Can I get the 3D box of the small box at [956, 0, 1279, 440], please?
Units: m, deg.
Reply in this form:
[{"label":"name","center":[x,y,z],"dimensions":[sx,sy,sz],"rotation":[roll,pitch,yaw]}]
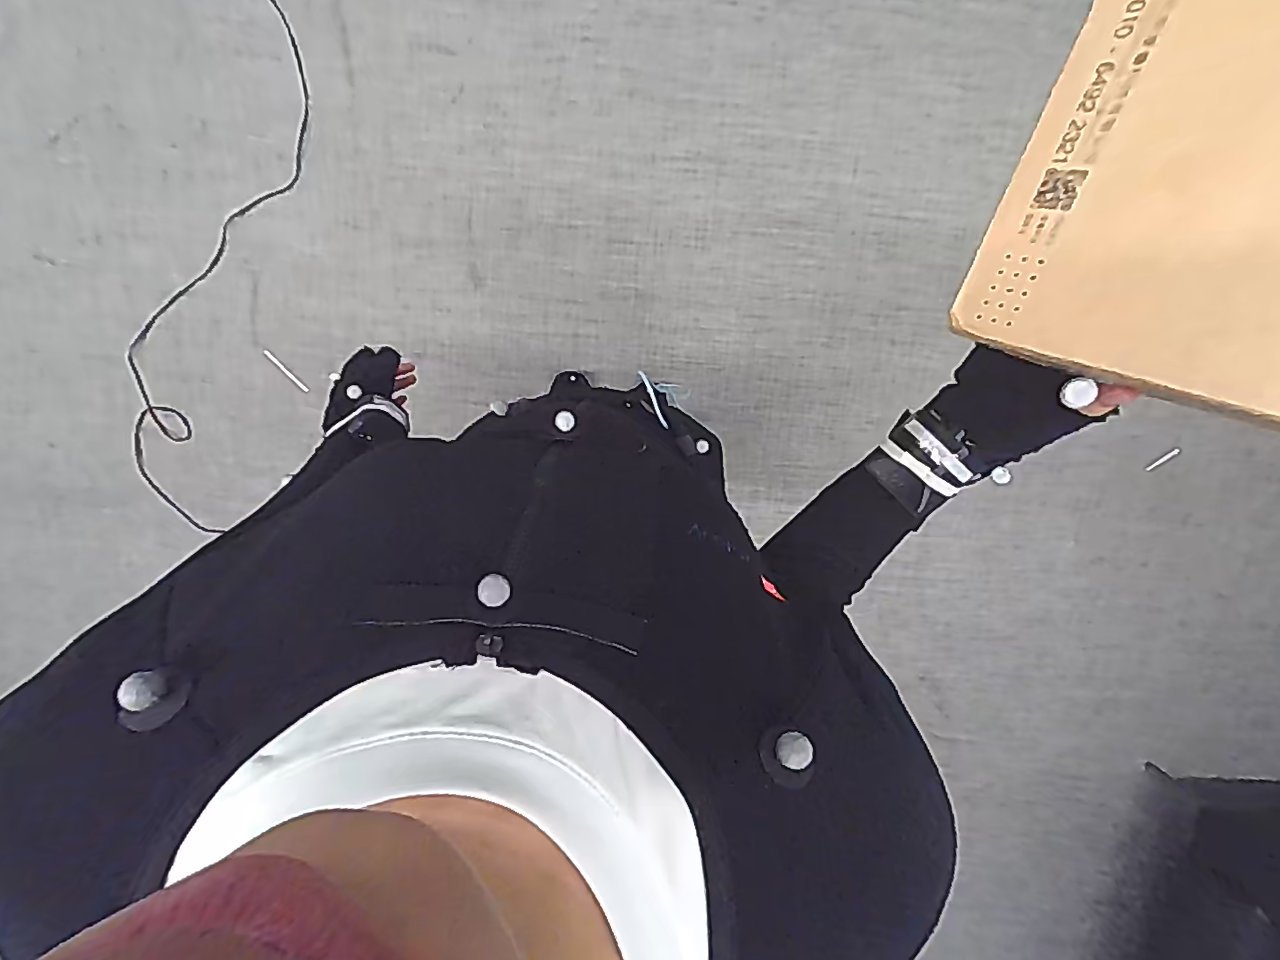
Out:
[{"label":"small box","center":[0.274,-0.106,0.218],"dimensions":[0.179,0.176,0.168],"rotation":[-1,117,-39]}]
